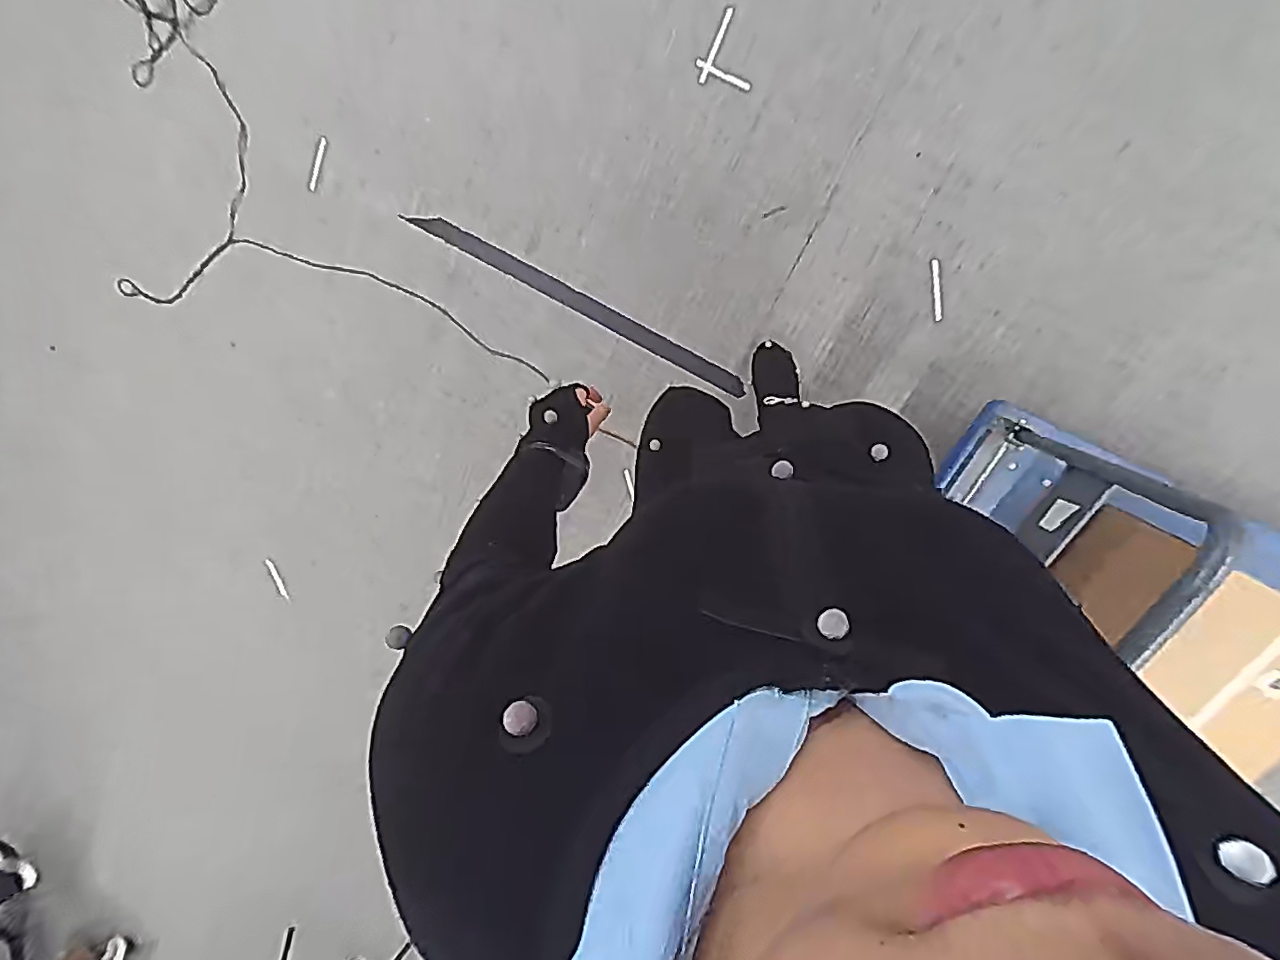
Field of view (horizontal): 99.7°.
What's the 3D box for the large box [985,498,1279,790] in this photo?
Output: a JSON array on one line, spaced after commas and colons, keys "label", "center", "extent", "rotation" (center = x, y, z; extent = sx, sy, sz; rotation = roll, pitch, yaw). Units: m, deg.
[{"label": "large box", "center": [1.015, 0.308, 1.101], "extent": [0.320, 0.320, 0.408], "rotation": [27, 108, 3]}]
